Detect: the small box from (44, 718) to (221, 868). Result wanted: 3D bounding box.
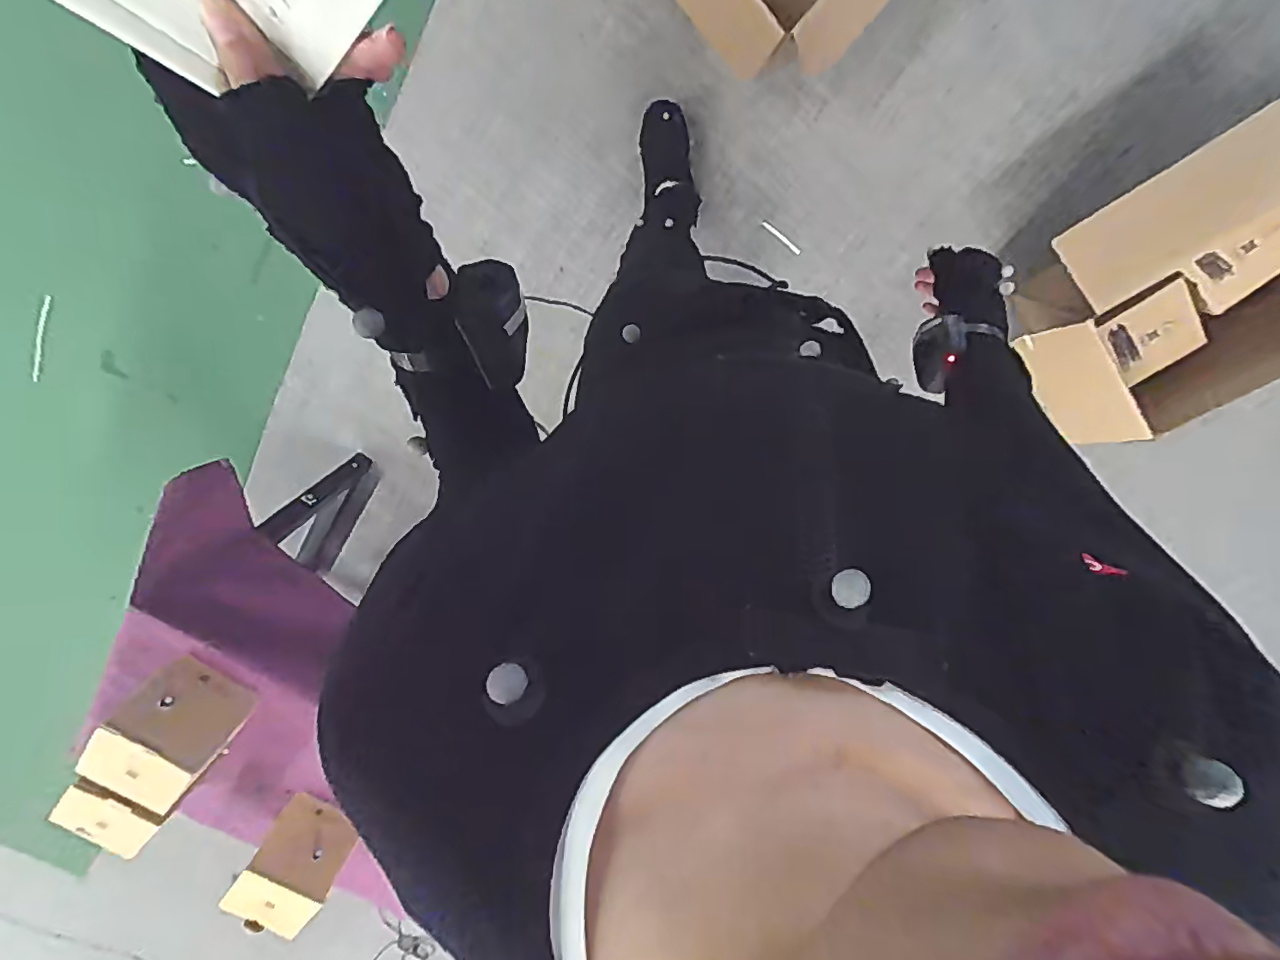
[{"bbox_3d":[-0.981,0.606,1.061,0.168,0.176,0.179,42,112,-13],"label":"small box"}]

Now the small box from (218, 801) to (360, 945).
[{"bbox_3d":[-0.726,0.819,1.137,0.168,0.176,0.179,35,115,-11],"label":"small box"}]
